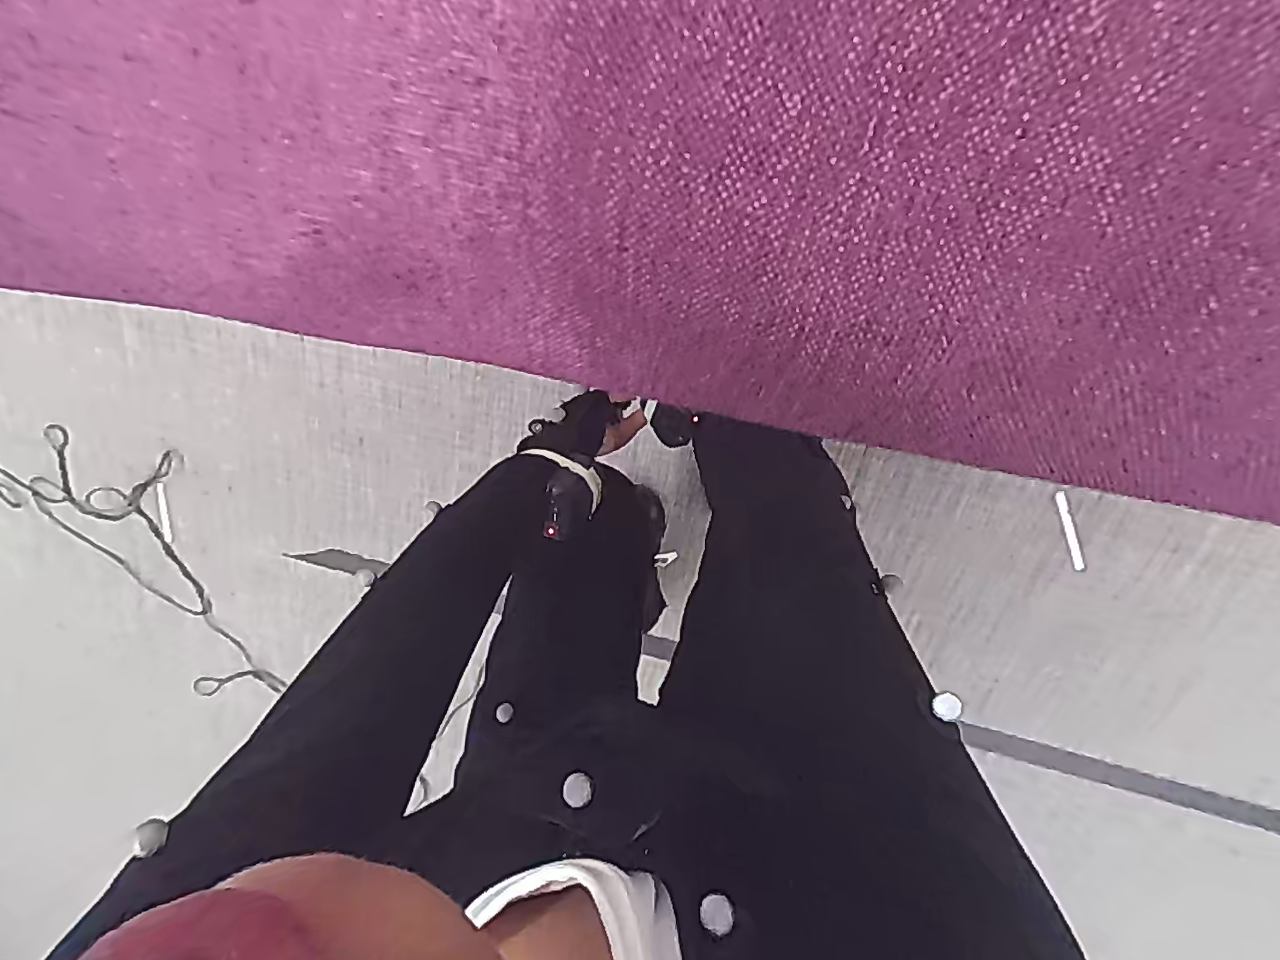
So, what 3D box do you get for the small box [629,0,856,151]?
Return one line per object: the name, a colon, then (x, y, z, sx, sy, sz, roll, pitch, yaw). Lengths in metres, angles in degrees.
small box: (0.099, -0.427, 0.512, 0.179, 0.176, 0.168, 12, 114, 5)
